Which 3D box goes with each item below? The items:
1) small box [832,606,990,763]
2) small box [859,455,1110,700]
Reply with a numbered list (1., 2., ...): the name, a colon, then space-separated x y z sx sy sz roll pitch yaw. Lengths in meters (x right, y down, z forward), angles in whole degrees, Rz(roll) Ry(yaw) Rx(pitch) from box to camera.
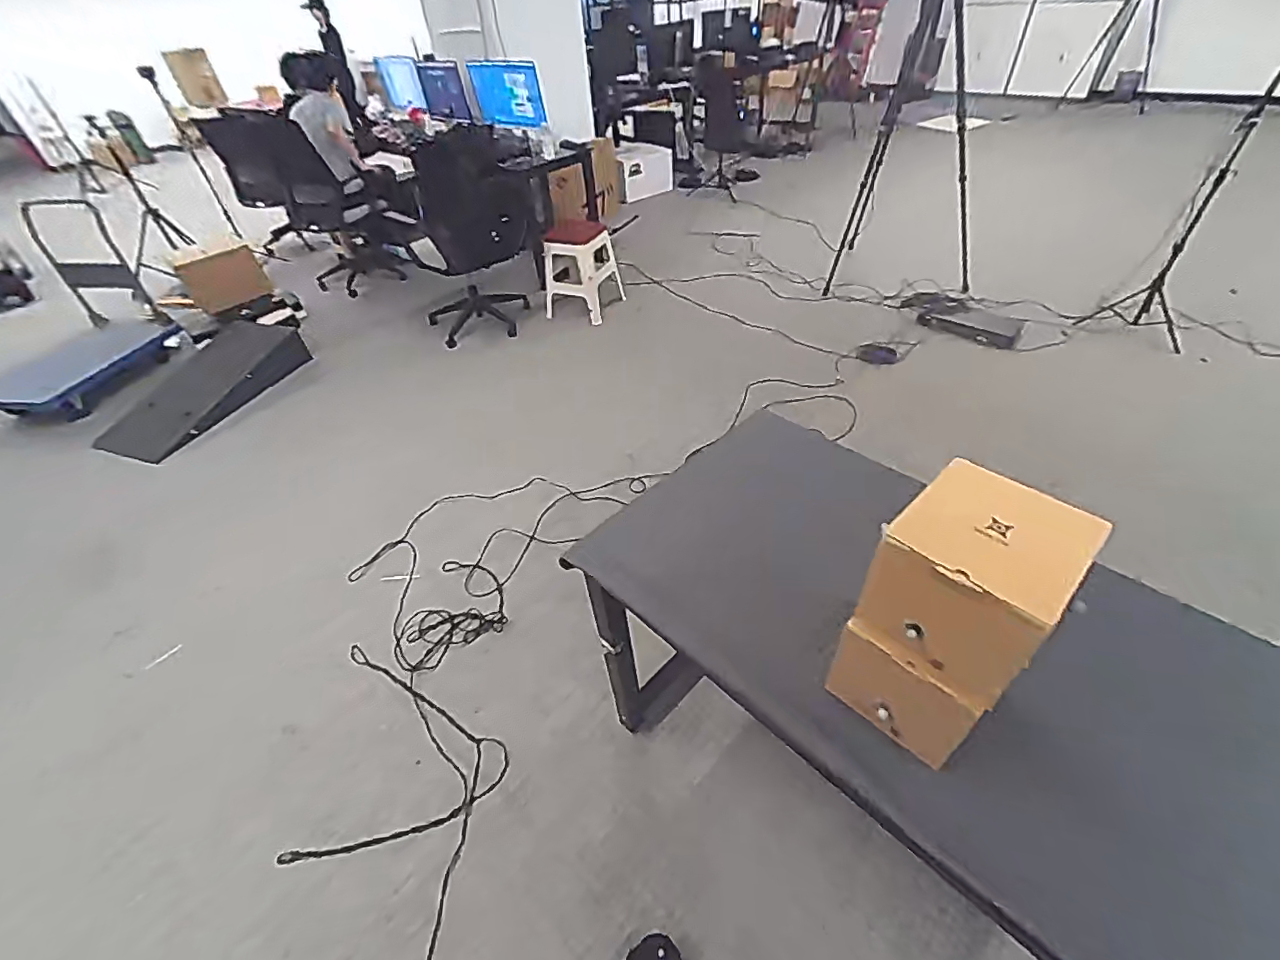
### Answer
1. small box: 0.381 0.232 0.725 0.179 0.176 0.168 -35 49 -29
2. small box: 0.378 0.108 0.620 0.179 0.176 0.168 -34 50 -28
